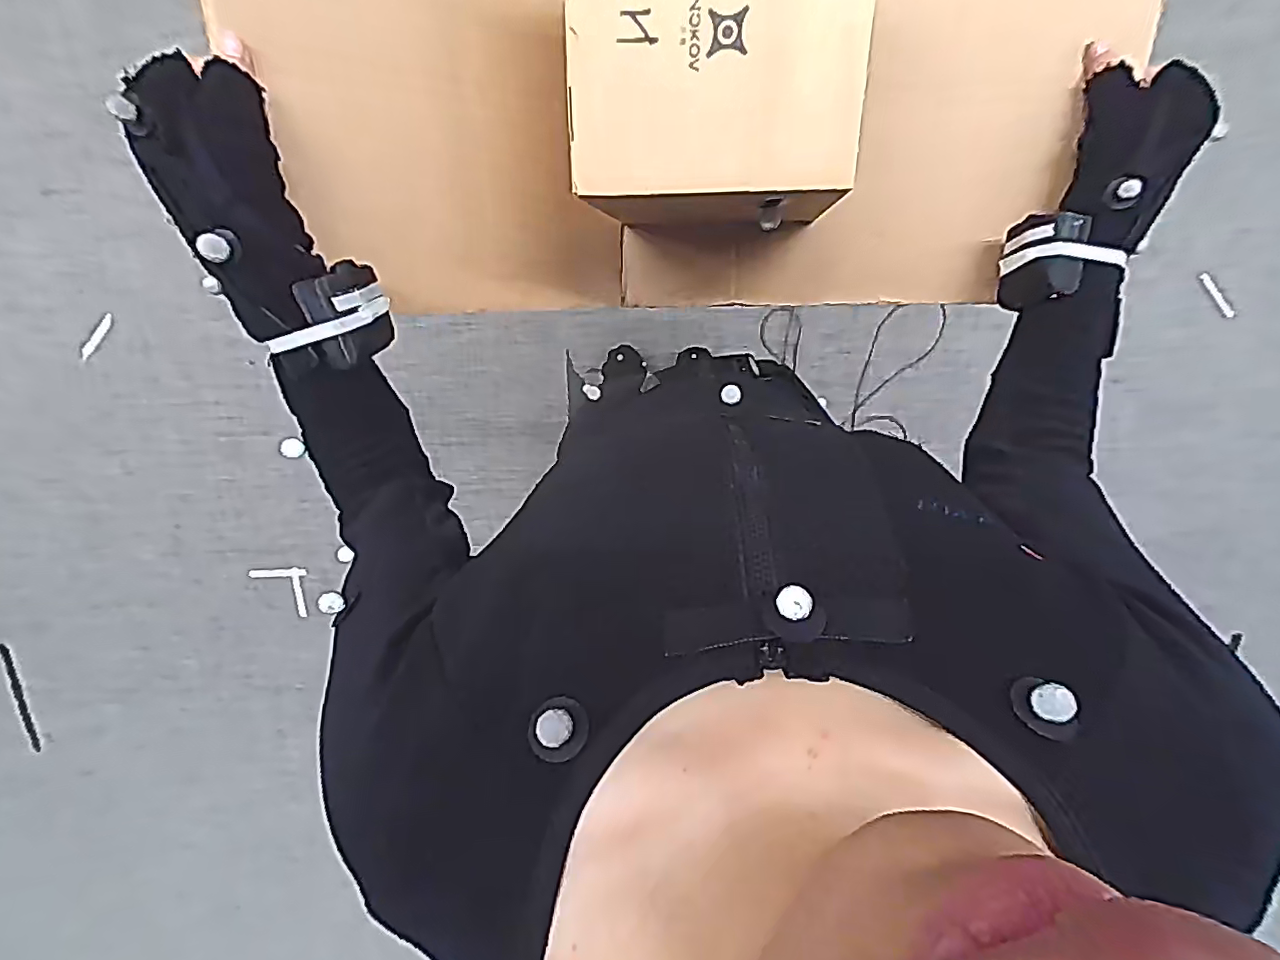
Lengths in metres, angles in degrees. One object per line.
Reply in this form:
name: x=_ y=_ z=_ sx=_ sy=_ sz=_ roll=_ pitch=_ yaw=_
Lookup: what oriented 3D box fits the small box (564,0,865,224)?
small box: x=0.052 y=-0.286 z=0.392 sx=0.179 sy=0.176 sz=0.168 roll=4 pitch=110 yaw=9
